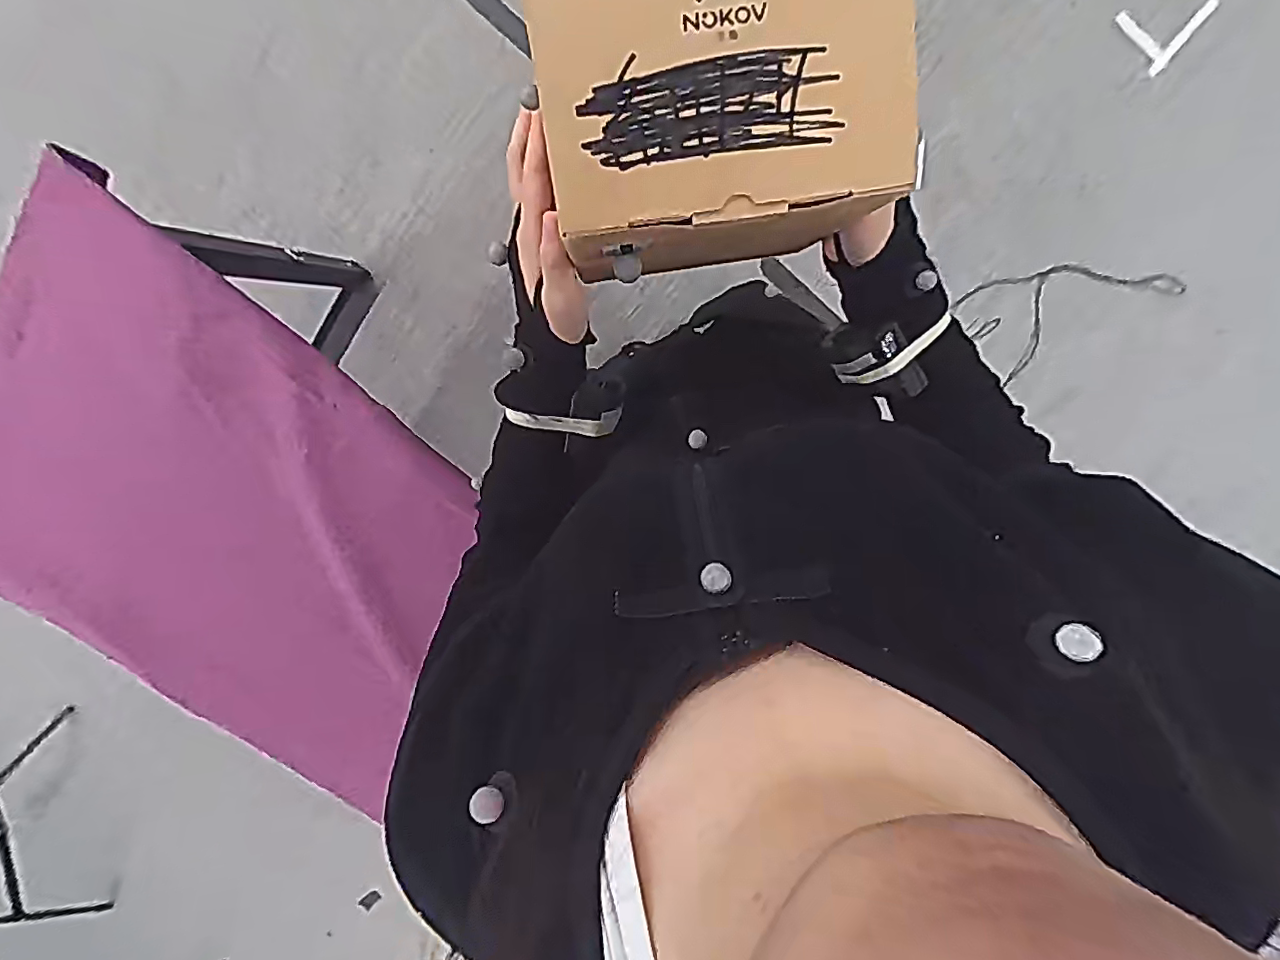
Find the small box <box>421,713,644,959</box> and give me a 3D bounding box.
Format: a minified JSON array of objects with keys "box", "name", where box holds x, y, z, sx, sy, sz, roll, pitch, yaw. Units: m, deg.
[{"box":[-0.110,0.407,0.629,0.179,0.176,0.168,34,107,-9],"name":"small box"}]
